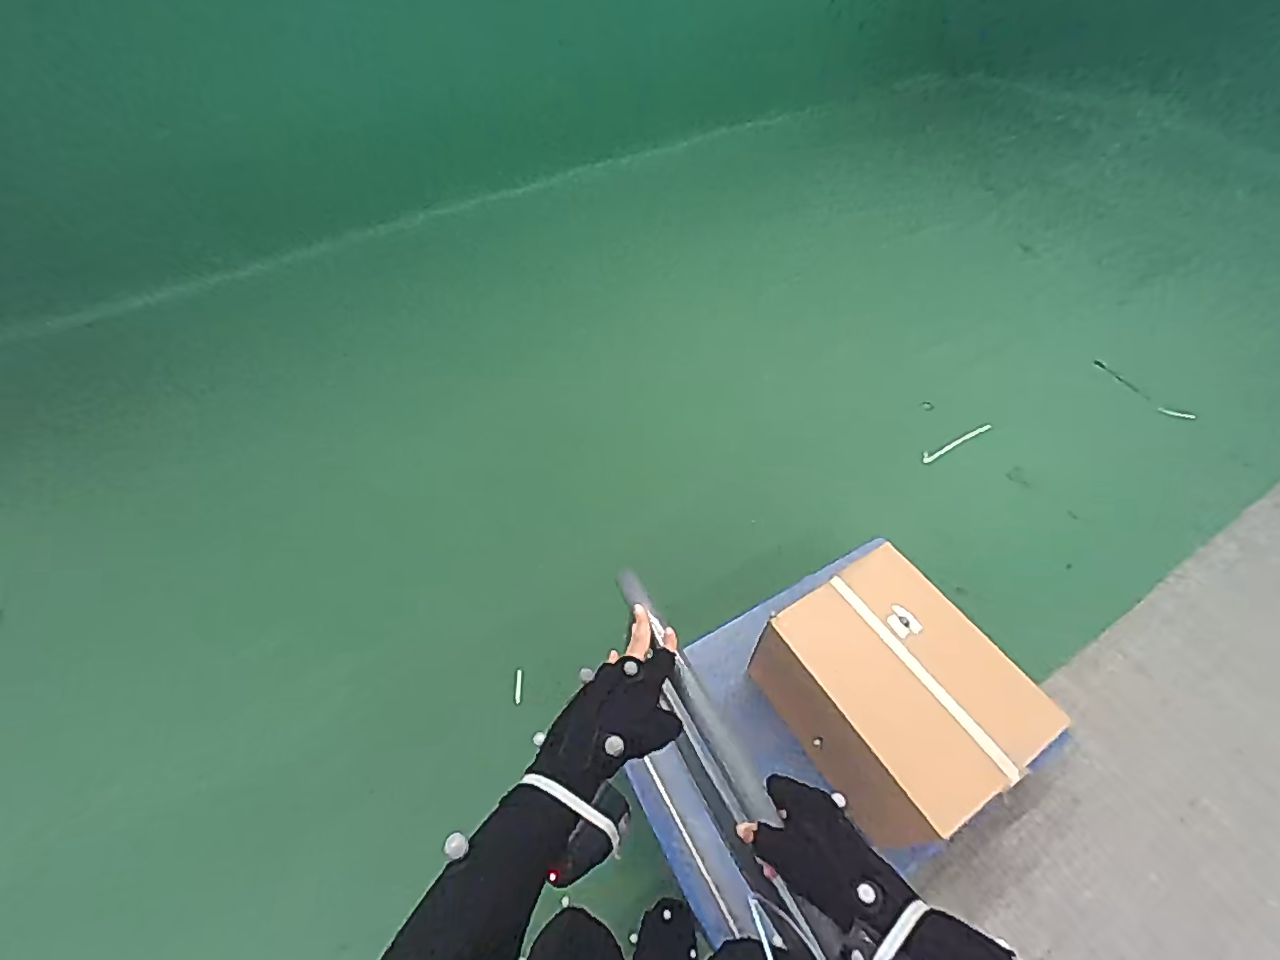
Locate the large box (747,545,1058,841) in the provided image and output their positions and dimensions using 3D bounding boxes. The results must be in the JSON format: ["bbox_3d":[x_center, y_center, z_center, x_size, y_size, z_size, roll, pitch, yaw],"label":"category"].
[{"bbox_3d":[0.470,0.416,1.073,0.320,0.320,0.408,-27,57,-18],"label":"large box"}]
